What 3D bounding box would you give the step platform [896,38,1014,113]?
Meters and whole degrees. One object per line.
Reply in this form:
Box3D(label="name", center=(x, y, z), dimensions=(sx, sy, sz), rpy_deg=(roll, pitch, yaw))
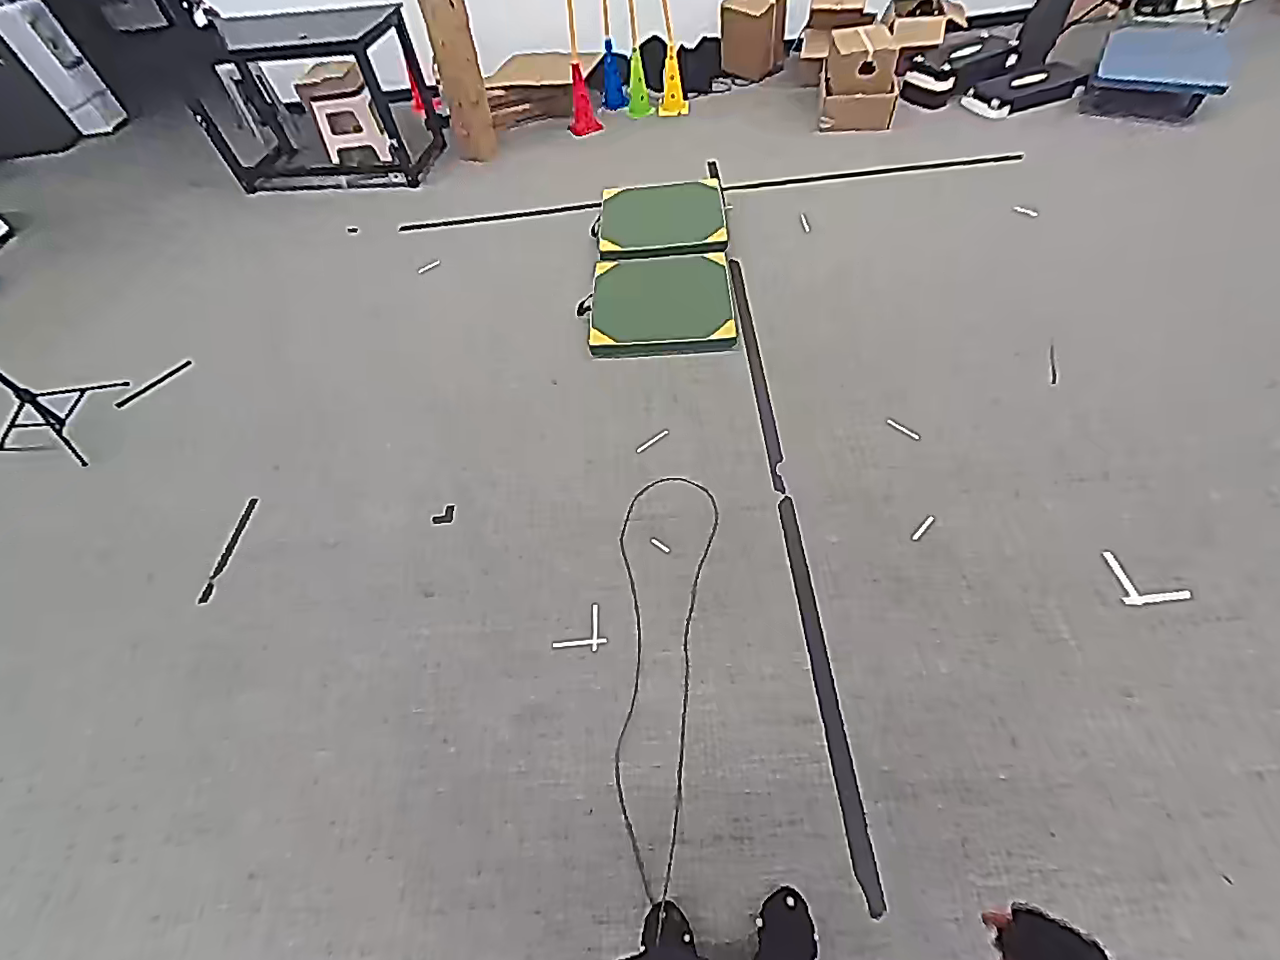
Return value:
Box3D(label="step platform", center=(1.940, -2.499, 3.328), dimensions=(0.684, 0.204, 0.286), rpy_deg=(-28, 56, -13))
